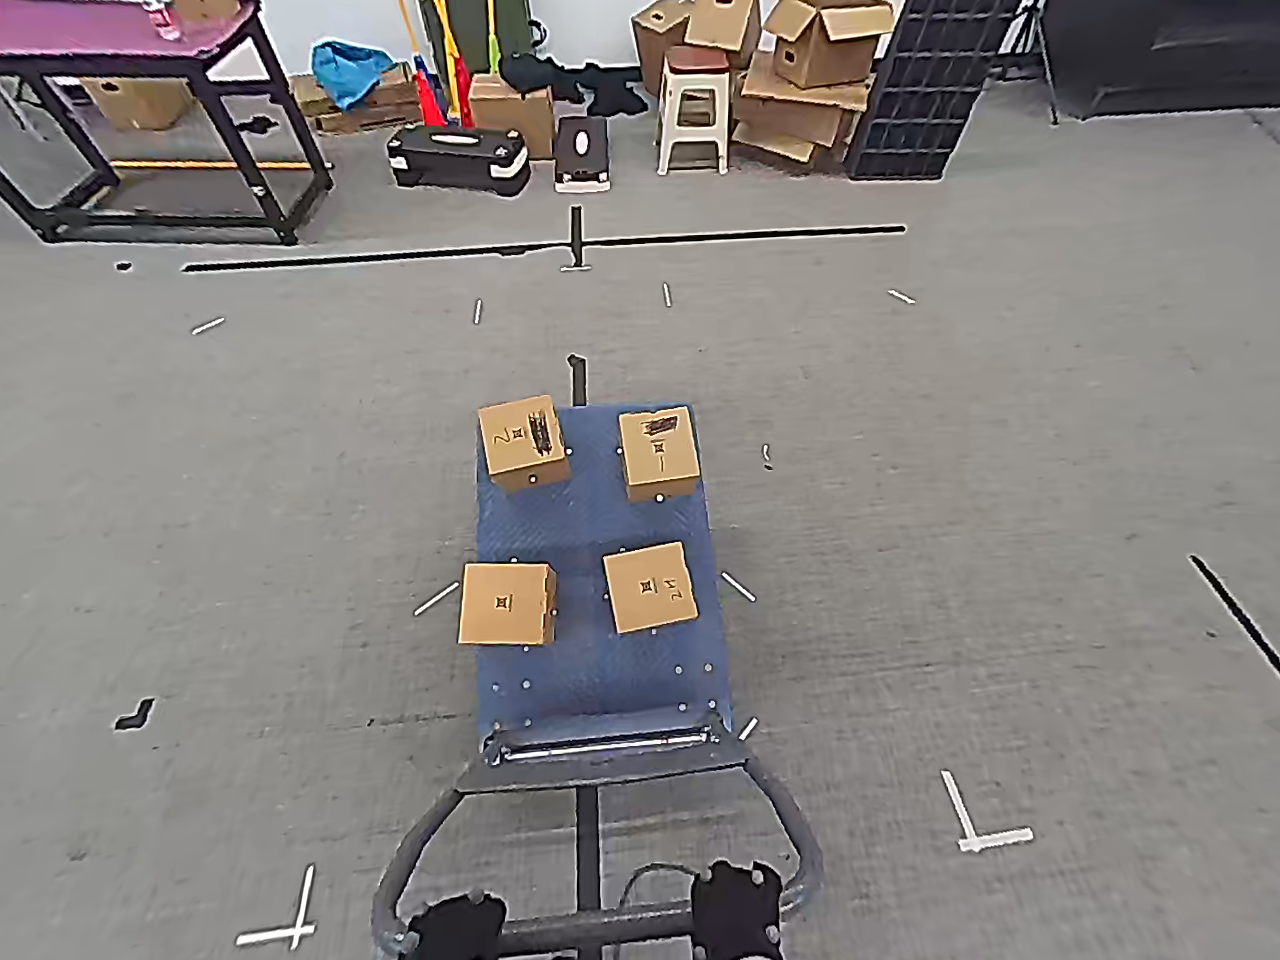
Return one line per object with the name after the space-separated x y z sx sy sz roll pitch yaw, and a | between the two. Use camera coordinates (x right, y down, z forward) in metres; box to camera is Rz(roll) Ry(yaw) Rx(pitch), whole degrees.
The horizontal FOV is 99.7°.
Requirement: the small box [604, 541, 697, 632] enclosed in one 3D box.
0.022 0.247 1.224 0.179 0.176 0.168 -10 74 -4 | small box

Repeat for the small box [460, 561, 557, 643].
-0.285 0.276 1.207 0.179 0.176 0.168 1 73 -3 | small box

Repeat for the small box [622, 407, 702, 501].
0.046 -0.059 1.318 0.168 0.176 0.179 -7 74 -4 | small box
